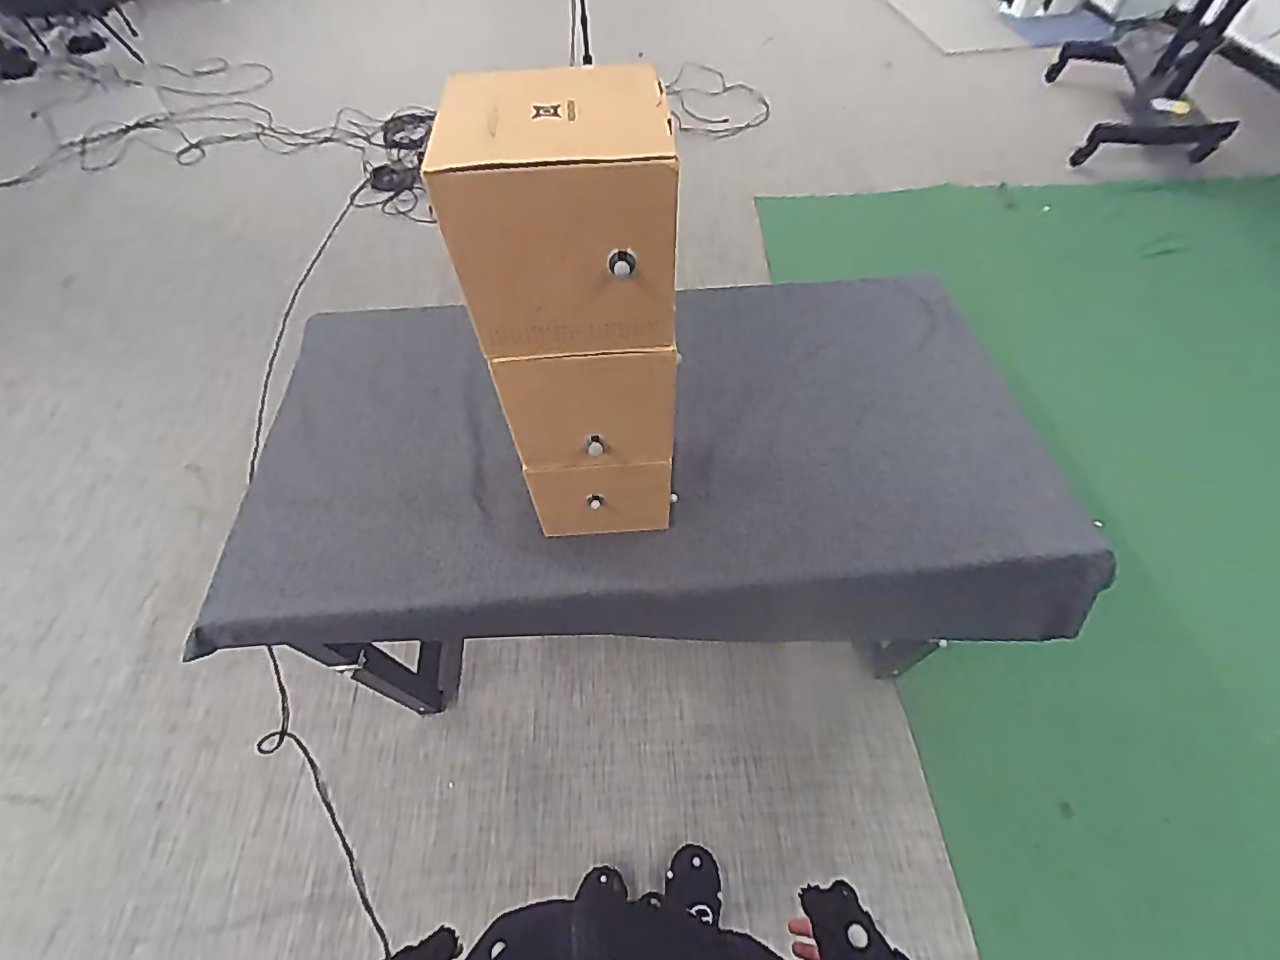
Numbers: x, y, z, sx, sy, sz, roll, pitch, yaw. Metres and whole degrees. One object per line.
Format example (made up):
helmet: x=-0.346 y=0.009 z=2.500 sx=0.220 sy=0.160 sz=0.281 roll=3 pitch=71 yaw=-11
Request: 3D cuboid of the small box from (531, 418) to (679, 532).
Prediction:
small box: x=-0.049 y=-0.042 z=0.741 sx=0.179 sy=0.176 sz=0.168 roll=-5 pitch=57 yaw=-3

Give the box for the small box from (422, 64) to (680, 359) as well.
small box: x=-0.063 y=-0.226 z=0.472 sx=0.179 sy=0.176 sz=0.168 roll=-5 pitch=56 yaw=0

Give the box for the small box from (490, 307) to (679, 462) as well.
small box: x=-0.055 y=-0.134 z=0.606 sx=0.179 sy=0.176 sz=0.168 roll=-3 pitch=57 yaw=-1
